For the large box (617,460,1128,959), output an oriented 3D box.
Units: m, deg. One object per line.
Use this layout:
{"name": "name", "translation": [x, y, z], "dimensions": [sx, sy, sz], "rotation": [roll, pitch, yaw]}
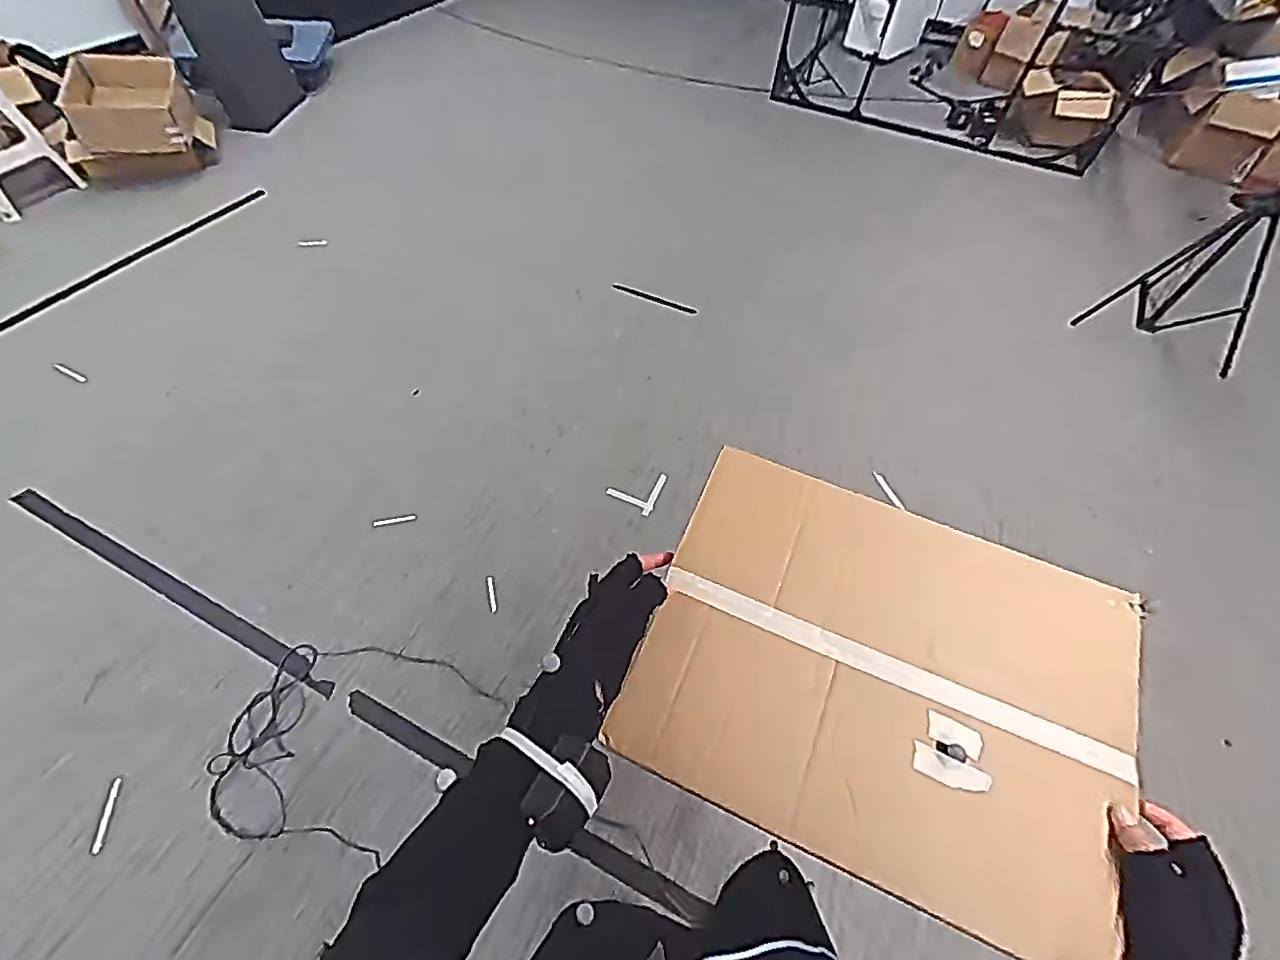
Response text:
{"name": "large box", "translation": [0.219, 0.235, 0.620], "dimensions": [0.408, 0.320, 0.320], "rotation": [22, 66, 12]}
